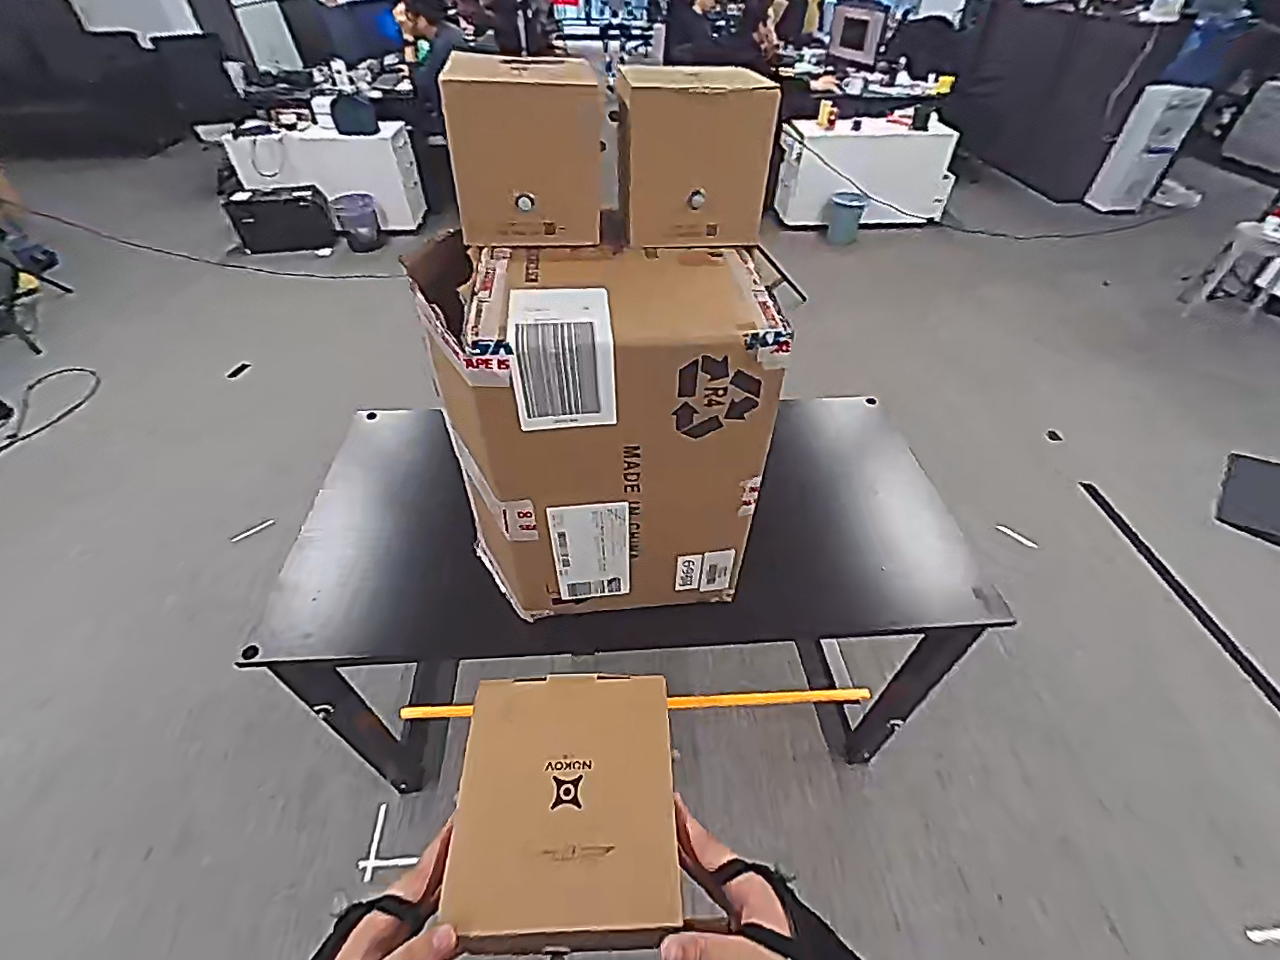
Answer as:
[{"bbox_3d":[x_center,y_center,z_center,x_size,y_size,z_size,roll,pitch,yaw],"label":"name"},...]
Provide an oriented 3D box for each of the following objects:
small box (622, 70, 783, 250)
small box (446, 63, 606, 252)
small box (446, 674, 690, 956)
[{"bbox_3d":[0.064,-0.410,0.693,0.168,0.176,0.179,-4,43,-5],"label":"small box"},{"bbox_3d":[-0.134,-0.400,0.673,0.168,0.176,0.179,-4,43,-8],"label":"small box"},{"bbox_3d":[-0.053,0.291,0.473,0.168,0.176,0.179,-1,46,-3],"label":"small box"}]
